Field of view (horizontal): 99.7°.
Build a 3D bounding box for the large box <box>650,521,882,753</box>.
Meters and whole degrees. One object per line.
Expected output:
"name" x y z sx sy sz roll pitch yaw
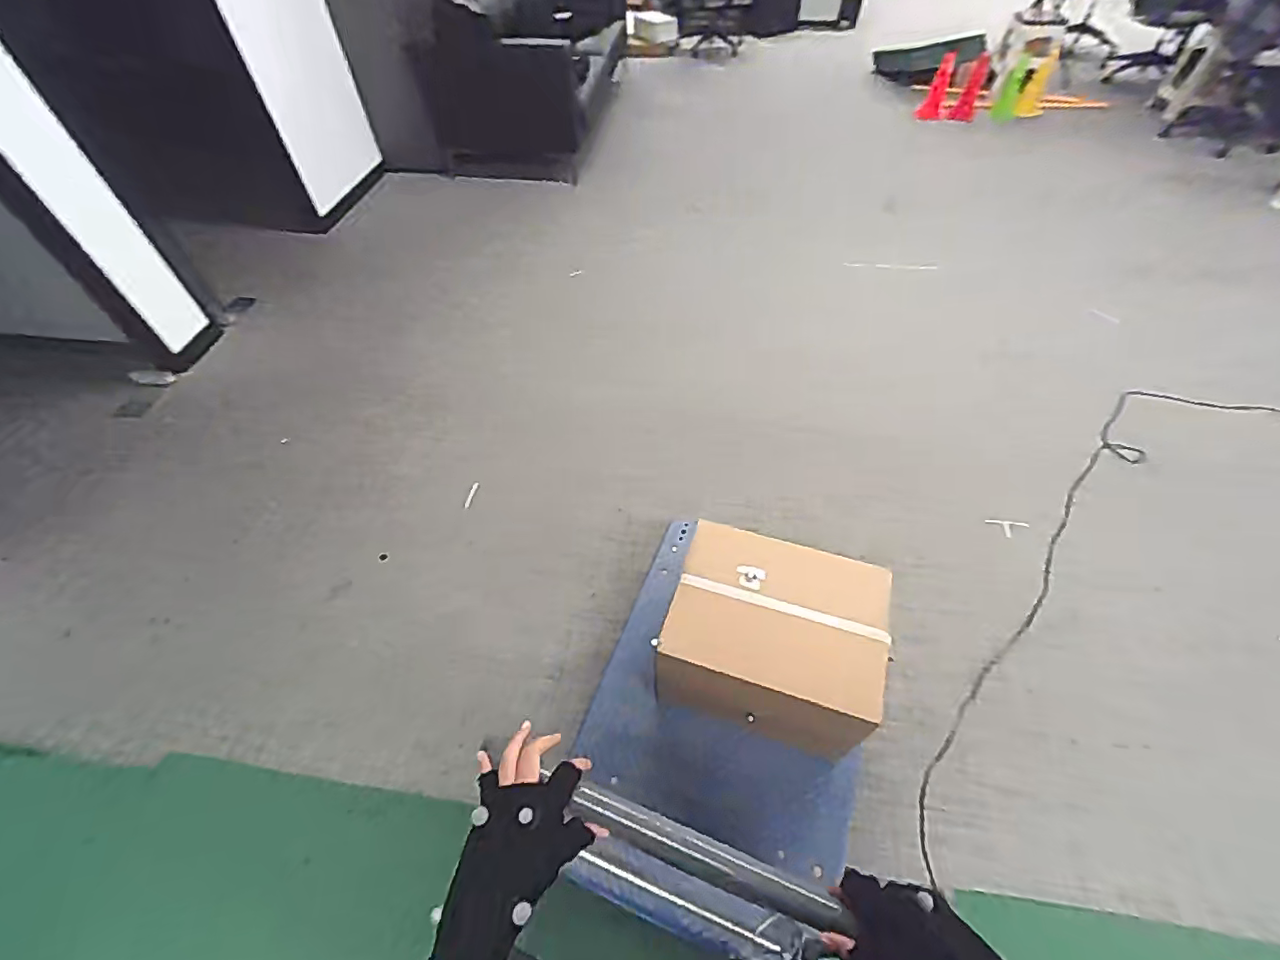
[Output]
"large box" 0.262 0.338 1.161 0.408 0.320 0.320 14 53 14
